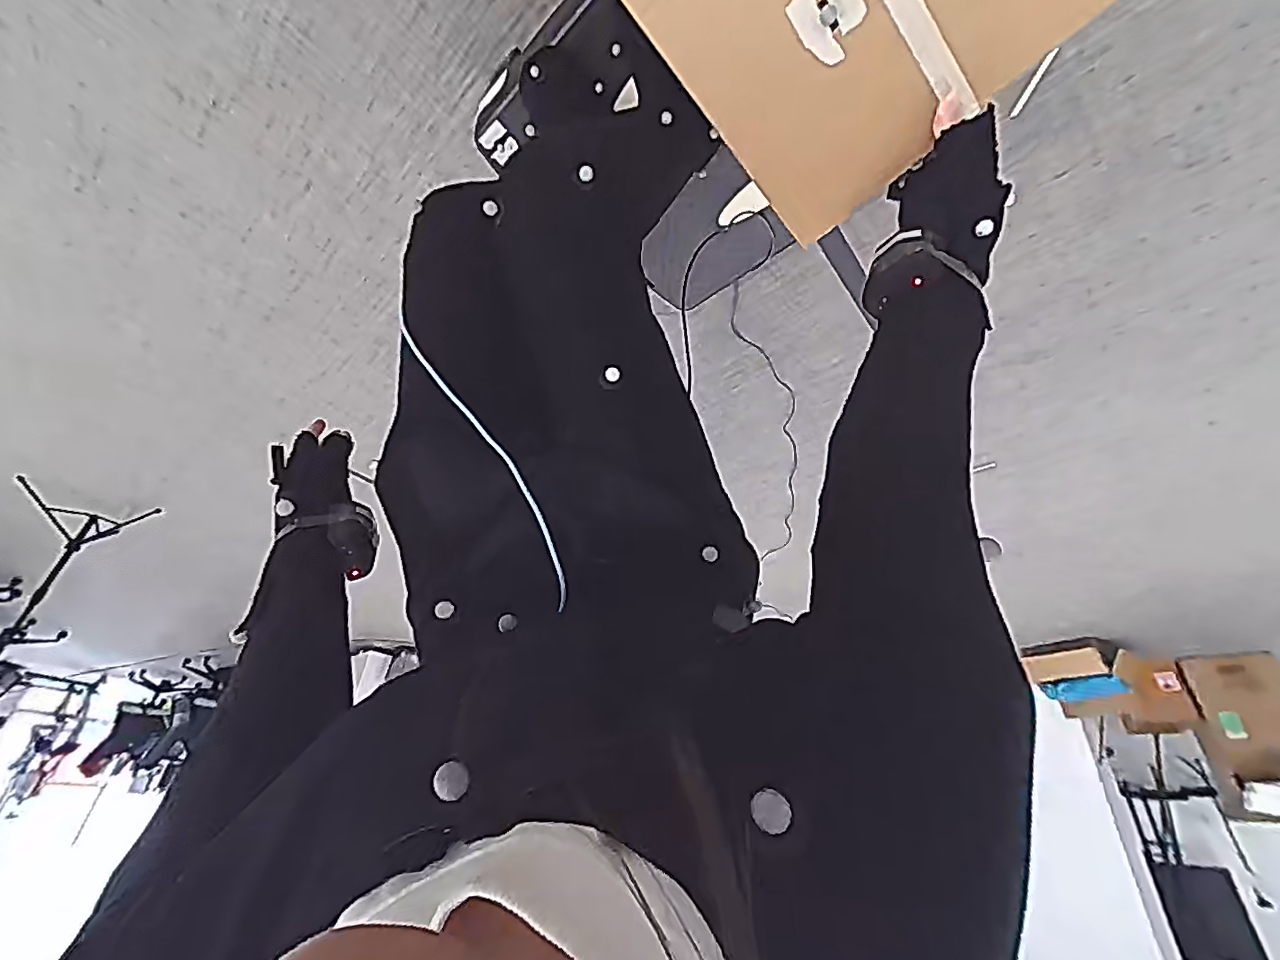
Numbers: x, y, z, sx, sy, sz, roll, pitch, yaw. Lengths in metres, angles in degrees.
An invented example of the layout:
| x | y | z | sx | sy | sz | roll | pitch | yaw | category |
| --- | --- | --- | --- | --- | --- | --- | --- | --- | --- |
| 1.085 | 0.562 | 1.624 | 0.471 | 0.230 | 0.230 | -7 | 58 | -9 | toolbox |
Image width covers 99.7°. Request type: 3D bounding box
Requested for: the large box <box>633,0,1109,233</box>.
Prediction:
| x | y | z | sx | sy | sz | roll | pitch | yaw | category |
| --- | --- | --- | --- | --- | --- | --- | --- | --- | --- |
| 0.166 | -0.530 | 0.502 | 0.320 | 0.320 | 0.408 | -33 | 116 | 33 | large box |

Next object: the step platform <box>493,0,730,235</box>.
| x | y | z | sx | sy | sz | roll | pitch | yaw | category |
| --- | --- | --- | --- | --- | --- | --- | --- | --- | --- |
| 0.080 | -0.686 | 0.795 | 0.684 | 0.204 | 0.286 | -25 | 137 | 37 | step platform |
